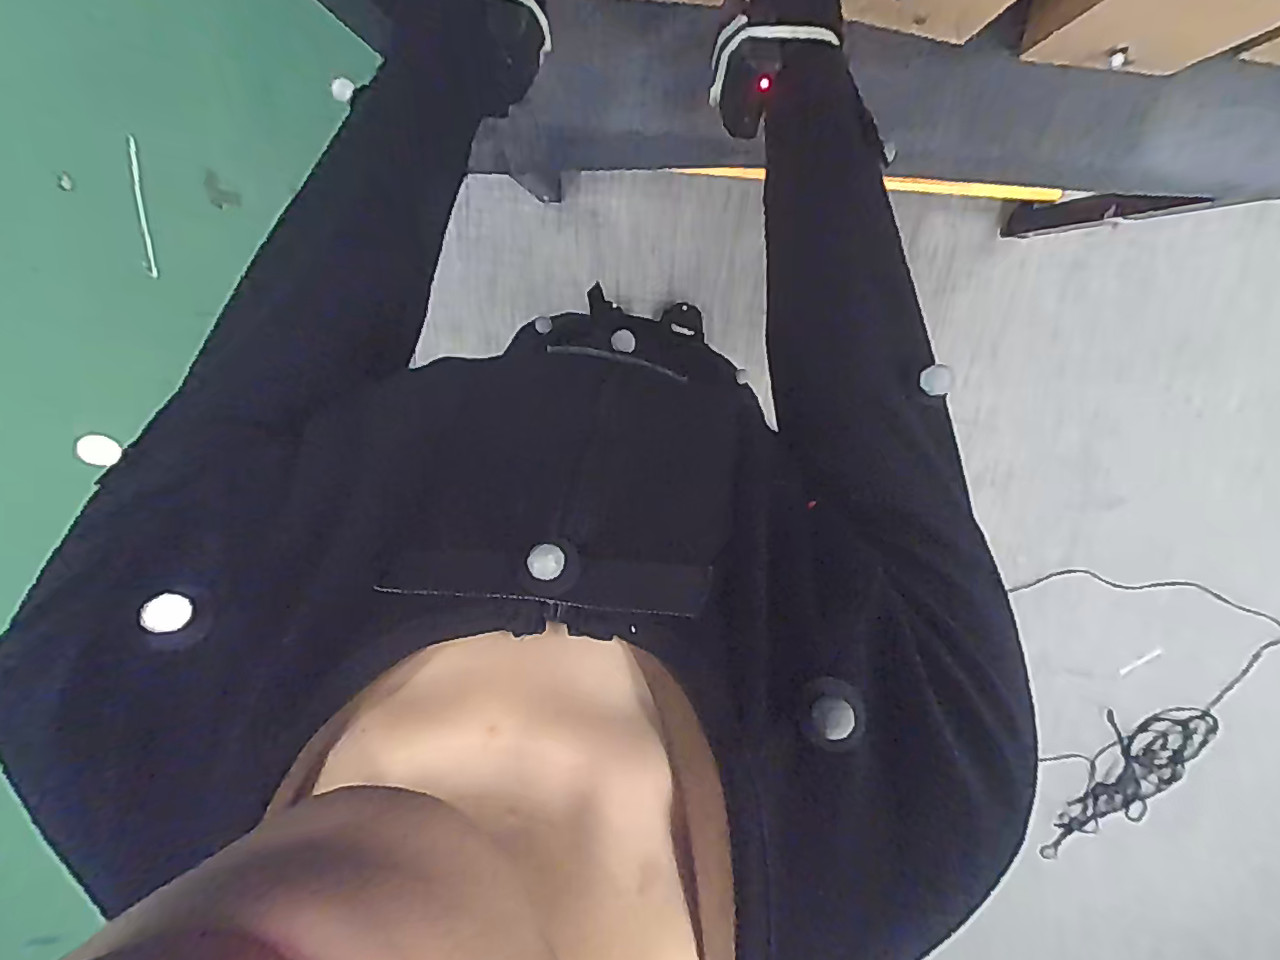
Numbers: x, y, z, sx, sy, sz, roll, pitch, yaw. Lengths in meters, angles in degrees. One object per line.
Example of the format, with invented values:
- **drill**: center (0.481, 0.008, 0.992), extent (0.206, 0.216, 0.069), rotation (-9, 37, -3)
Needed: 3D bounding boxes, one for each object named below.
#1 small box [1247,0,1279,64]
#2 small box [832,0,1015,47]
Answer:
- **small box**: center (0.725, -0.491, 0.479), extent (0.168, 0.176, 0.179), rotation (7, 108, -1)
- **small box**: center (0.285, -0.532, 0.482), extent (0.168, 0.176, 0.179), rotation (11, 108, -2)
